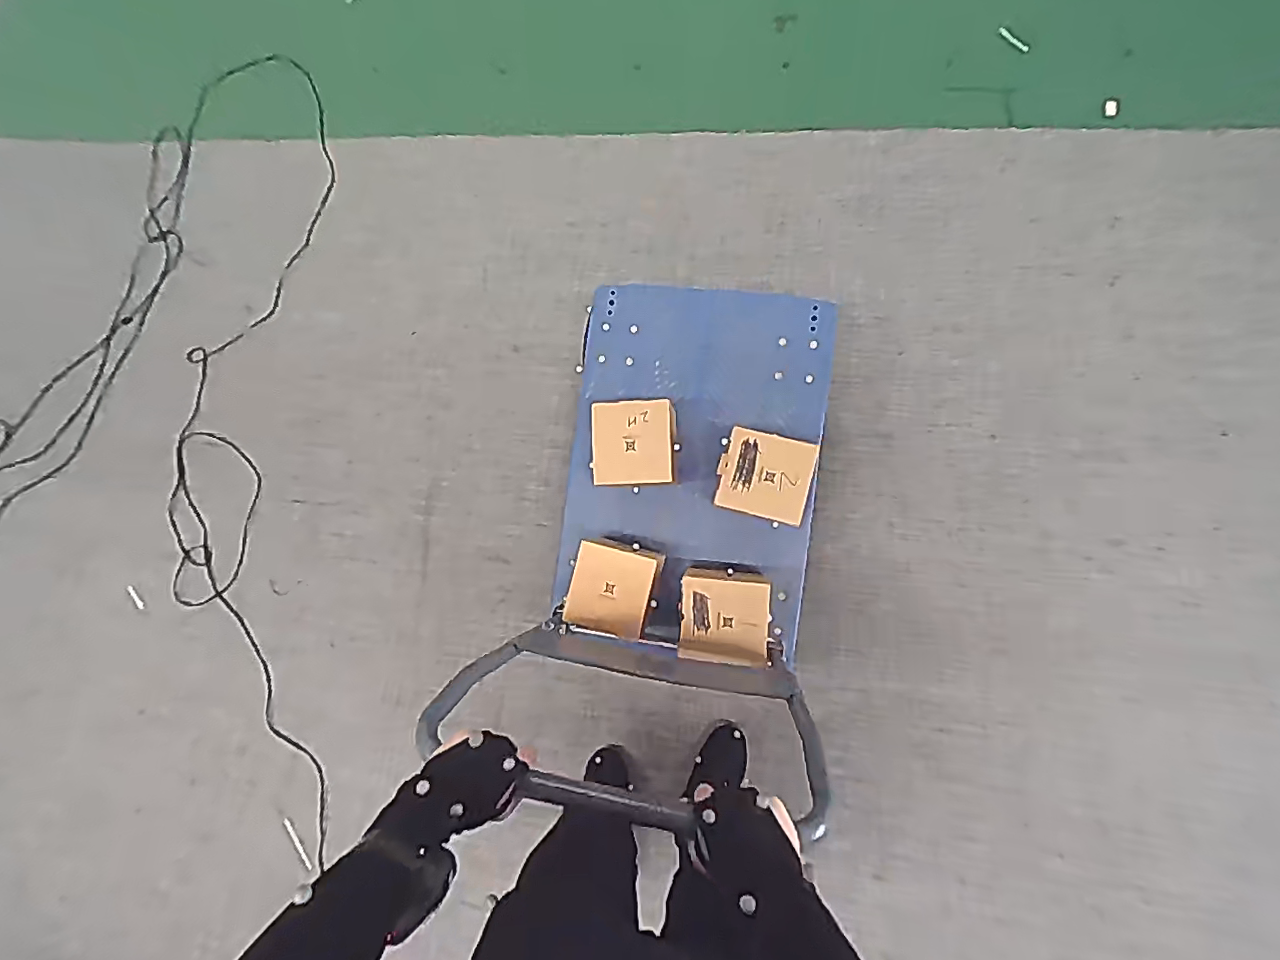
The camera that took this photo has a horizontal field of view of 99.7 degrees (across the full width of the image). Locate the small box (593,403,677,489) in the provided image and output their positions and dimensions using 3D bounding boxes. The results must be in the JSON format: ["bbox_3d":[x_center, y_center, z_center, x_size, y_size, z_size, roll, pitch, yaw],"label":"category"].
[{"bbox_3d":[-0.005,-0.068,1.198,0.168,0.176,0.179,-2,86,8],"label":"small box"}]

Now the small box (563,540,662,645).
[{"bbox_3d":[-0.052,0.235,1.188,0.168,0.176,0.179,14,90,9],"label":"small box"}]
